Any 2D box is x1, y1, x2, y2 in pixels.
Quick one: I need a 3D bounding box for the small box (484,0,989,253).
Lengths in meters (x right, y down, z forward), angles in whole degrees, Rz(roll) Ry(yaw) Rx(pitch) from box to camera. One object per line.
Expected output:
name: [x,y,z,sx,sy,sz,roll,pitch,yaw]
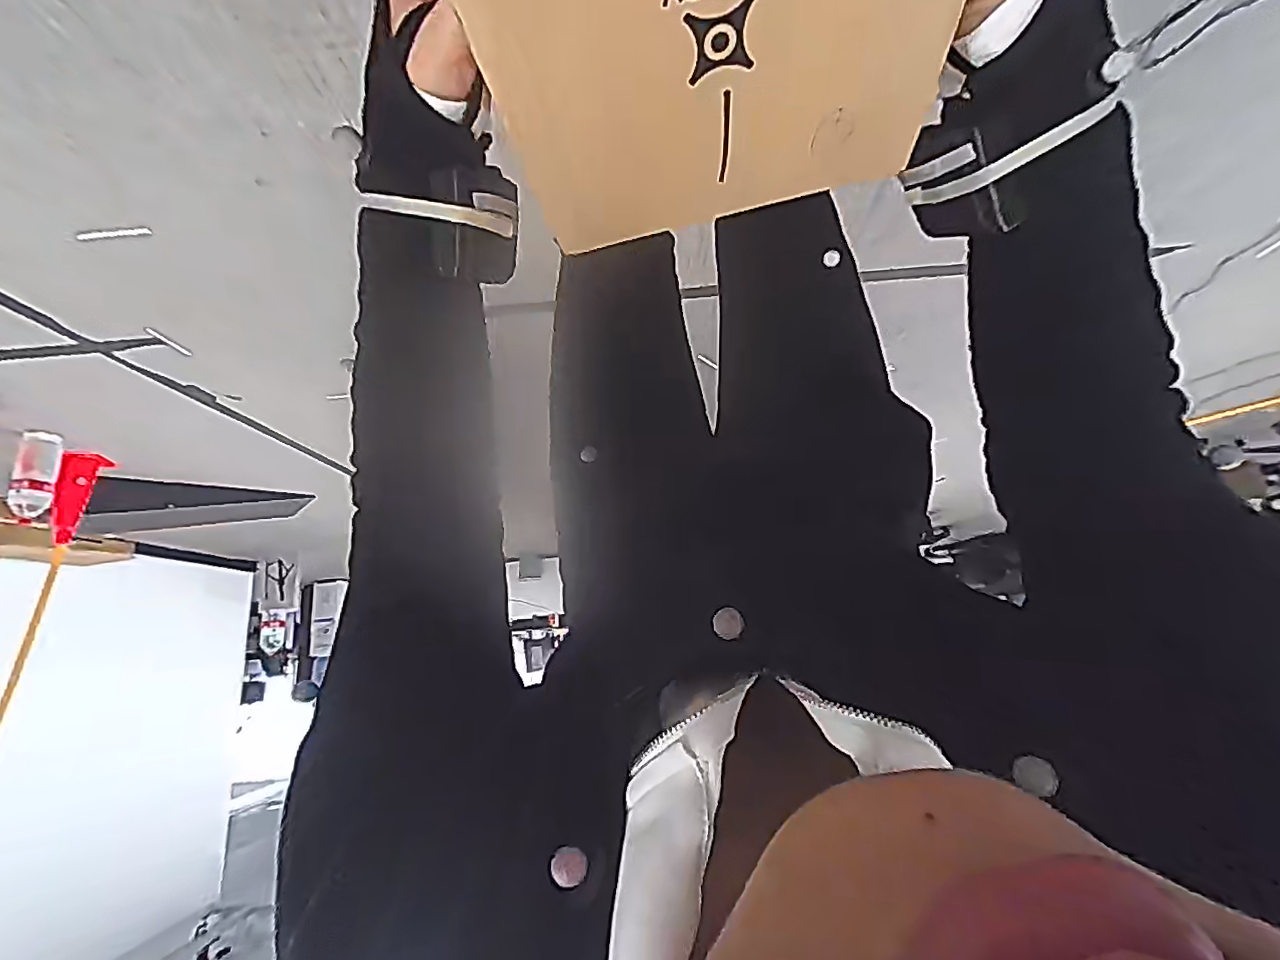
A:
small box: [0.022,-0.227,0.200,0.168,0.176,0.179,-11,160,6]
